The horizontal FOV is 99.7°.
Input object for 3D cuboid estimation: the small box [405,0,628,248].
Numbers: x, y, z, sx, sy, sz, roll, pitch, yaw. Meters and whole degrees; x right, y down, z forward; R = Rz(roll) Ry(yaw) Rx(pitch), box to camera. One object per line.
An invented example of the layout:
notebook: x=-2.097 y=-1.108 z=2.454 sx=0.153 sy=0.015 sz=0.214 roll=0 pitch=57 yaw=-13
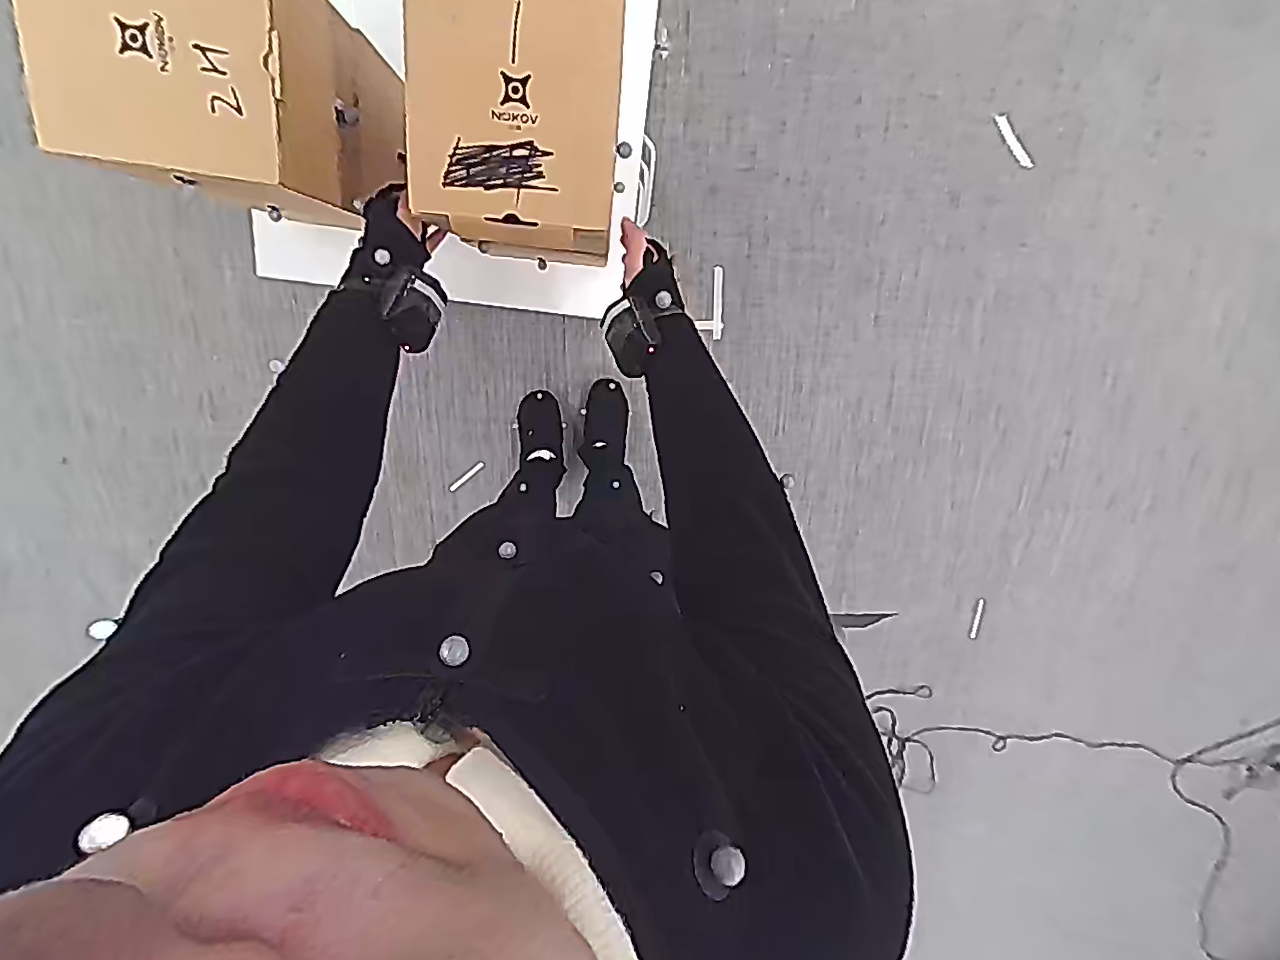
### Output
small box: x=-0.101 y=-0.319 z=0.496 sx=0.168 sy=0.176 sz=0.179 roll=4 pitch=107 yaw=-5

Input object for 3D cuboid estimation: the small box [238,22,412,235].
small box: x=-0.371 y=-0.399 z=0.623 sx=0.168 sy=0.176 sz=0.179 roll=6 pitch=106 yaw=-6

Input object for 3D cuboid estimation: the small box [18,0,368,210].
small box: x=-0.360 y=-0.344 z=0.468 sx=0.179 sy=0.176 sz=0.168 roll=6 pitch=108 yaw=-7
